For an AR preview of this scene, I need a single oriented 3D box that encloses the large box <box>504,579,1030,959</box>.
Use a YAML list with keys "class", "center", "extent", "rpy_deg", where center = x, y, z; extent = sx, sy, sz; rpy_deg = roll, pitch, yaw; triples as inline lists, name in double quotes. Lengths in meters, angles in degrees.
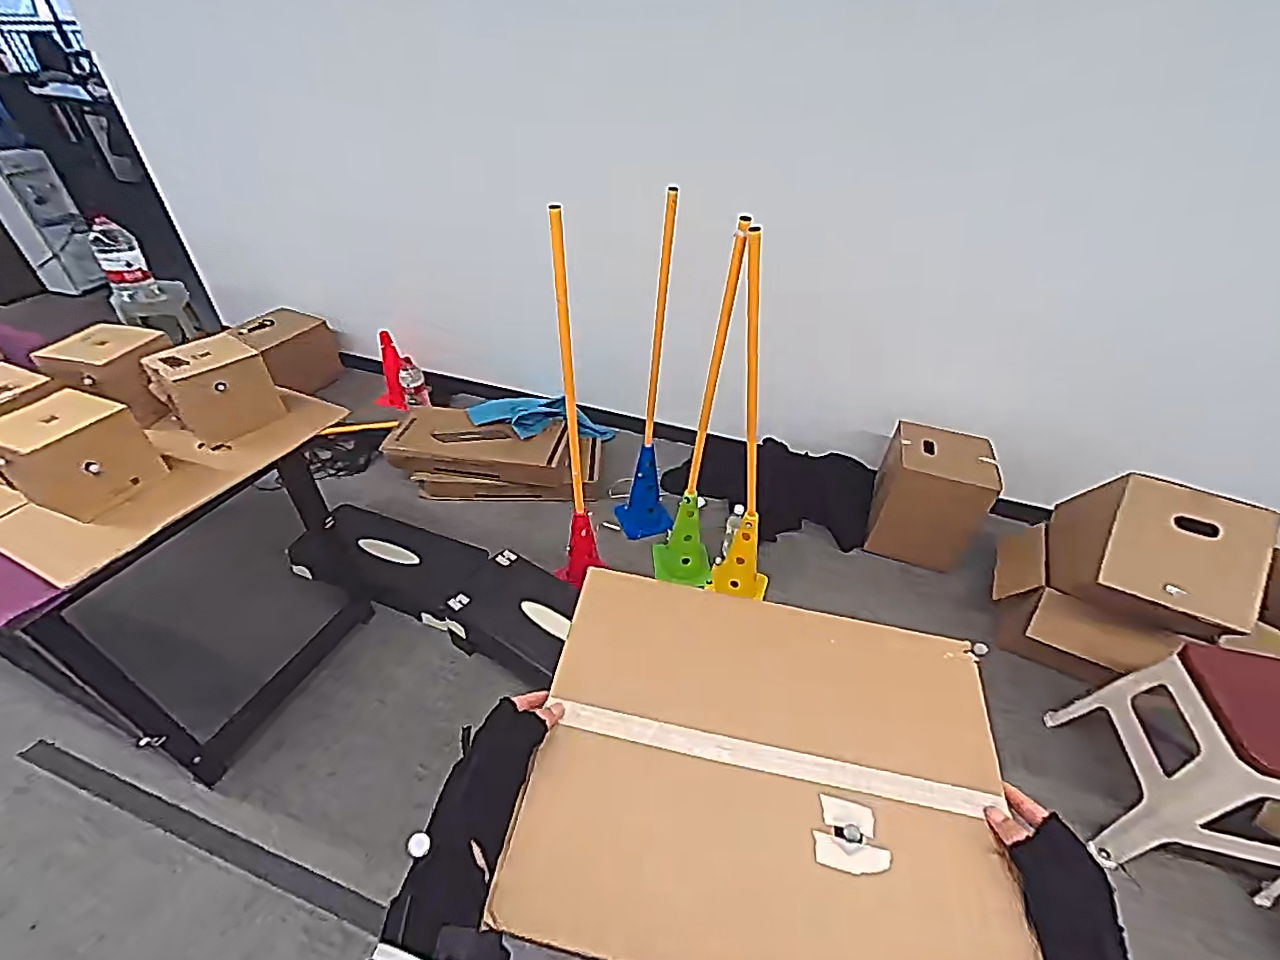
- class: "large box"
  center: [0.106, 0.352, 0.596]
  extent: [0.408, 0.320, 0.320]
  rpy_deg: [11, 49, 5]
